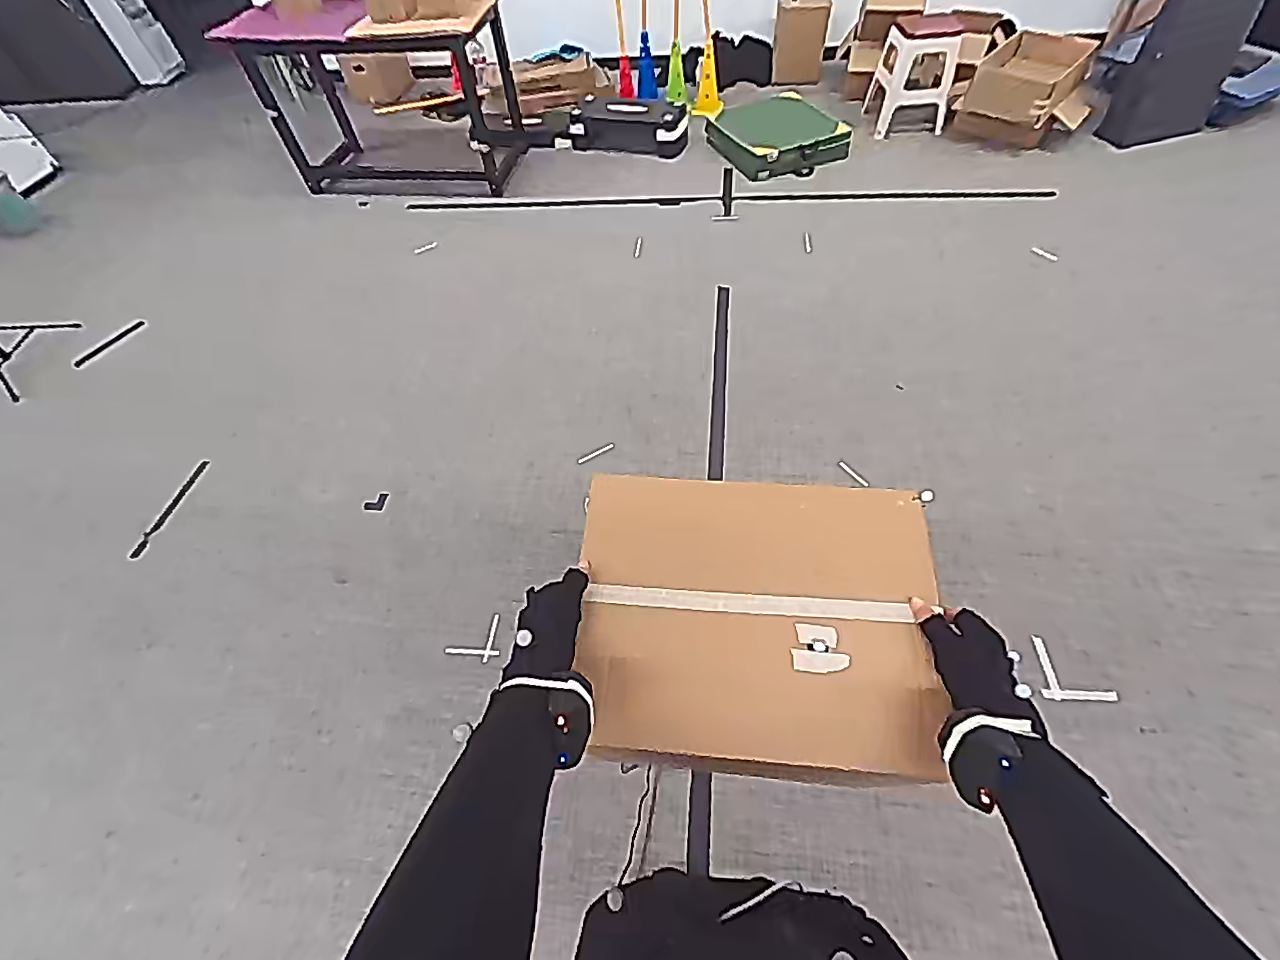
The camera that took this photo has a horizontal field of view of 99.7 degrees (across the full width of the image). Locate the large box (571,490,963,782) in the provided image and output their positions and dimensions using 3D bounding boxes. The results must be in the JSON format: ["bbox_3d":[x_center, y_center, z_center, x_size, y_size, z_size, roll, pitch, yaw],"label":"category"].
[{"bbox_3d":[0.139,0.227,0.750,0.408,0.320,0.320,3,61,5],"label":"large box"}]
